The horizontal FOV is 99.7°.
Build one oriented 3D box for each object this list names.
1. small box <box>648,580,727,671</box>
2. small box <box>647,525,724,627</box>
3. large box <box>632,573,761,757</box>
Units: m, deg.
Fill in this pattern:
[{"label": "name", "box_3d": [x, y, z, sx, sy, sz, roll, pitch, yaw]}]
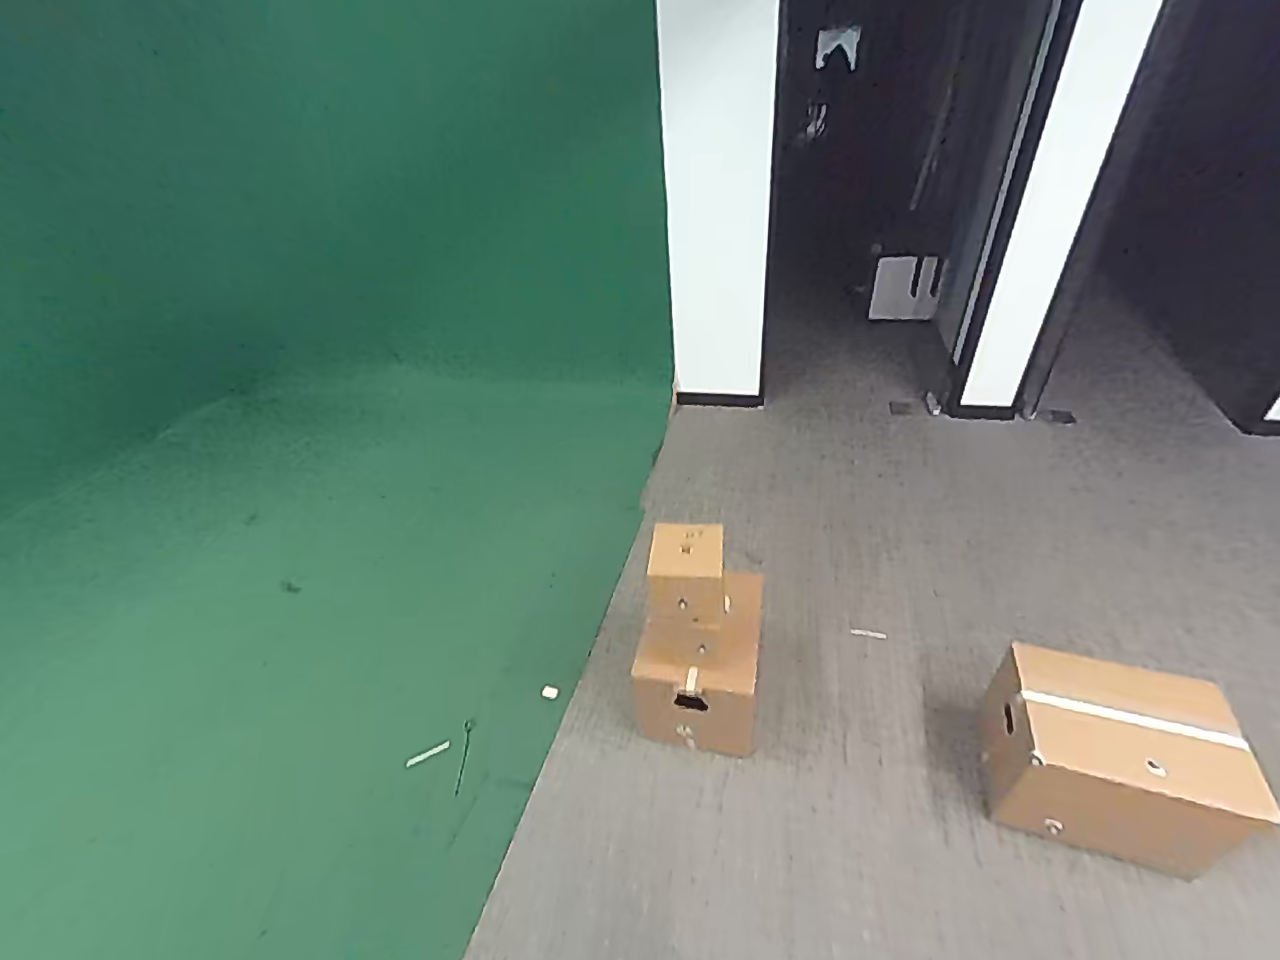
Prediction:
[{"label": "small box", "box_3d": [0.128, 0.364, 1.380, 0.179, 0.176, 0.168, 3, 36, 14]}, {"label": "small box", "box_3d": [0.115, 0.229, 1.287, 0.168, 0.176, 0.179, 1, 36, 10]}, {"label": "large box", "box_3d": [0.183, 0.519, 1.573, 0.320, 0.320, 0.408, 4, 37, 14]}]
